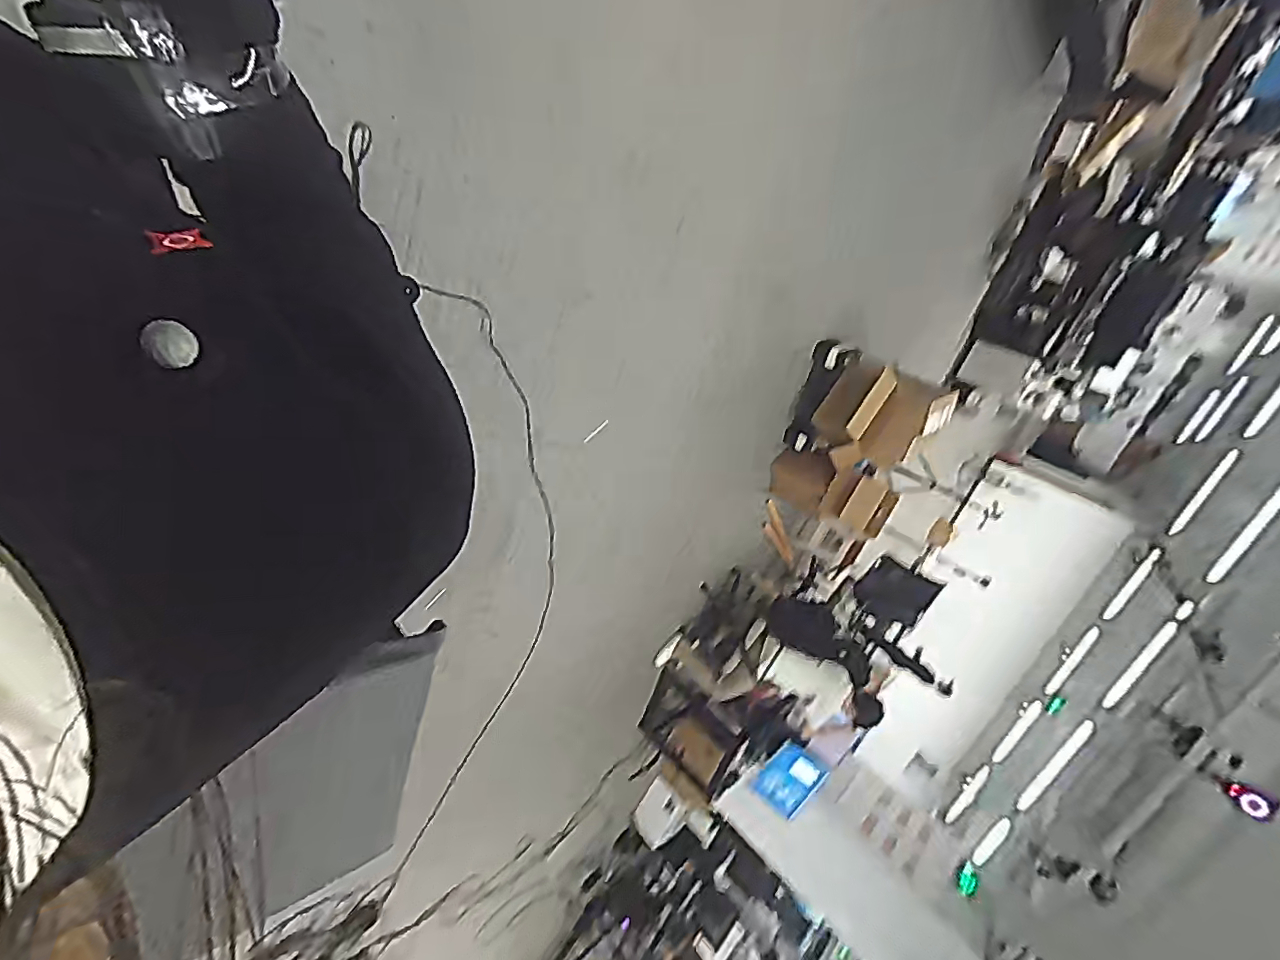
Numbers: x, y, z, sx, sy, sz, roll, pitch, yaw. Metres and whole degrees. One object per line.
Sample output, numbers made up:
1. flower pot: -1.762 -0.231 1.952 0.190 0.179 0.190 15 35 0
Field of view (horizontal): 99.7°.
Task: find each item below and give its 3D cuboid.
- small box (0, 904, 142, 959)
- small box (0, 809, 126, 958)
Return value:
1. small box: -0.636 0.608 0.558 0.179 0.176 0.168 -3 122 -51
2. small box: -0.748 0.544 0.658 0.168 0.176 0.179 -8 123 -48
